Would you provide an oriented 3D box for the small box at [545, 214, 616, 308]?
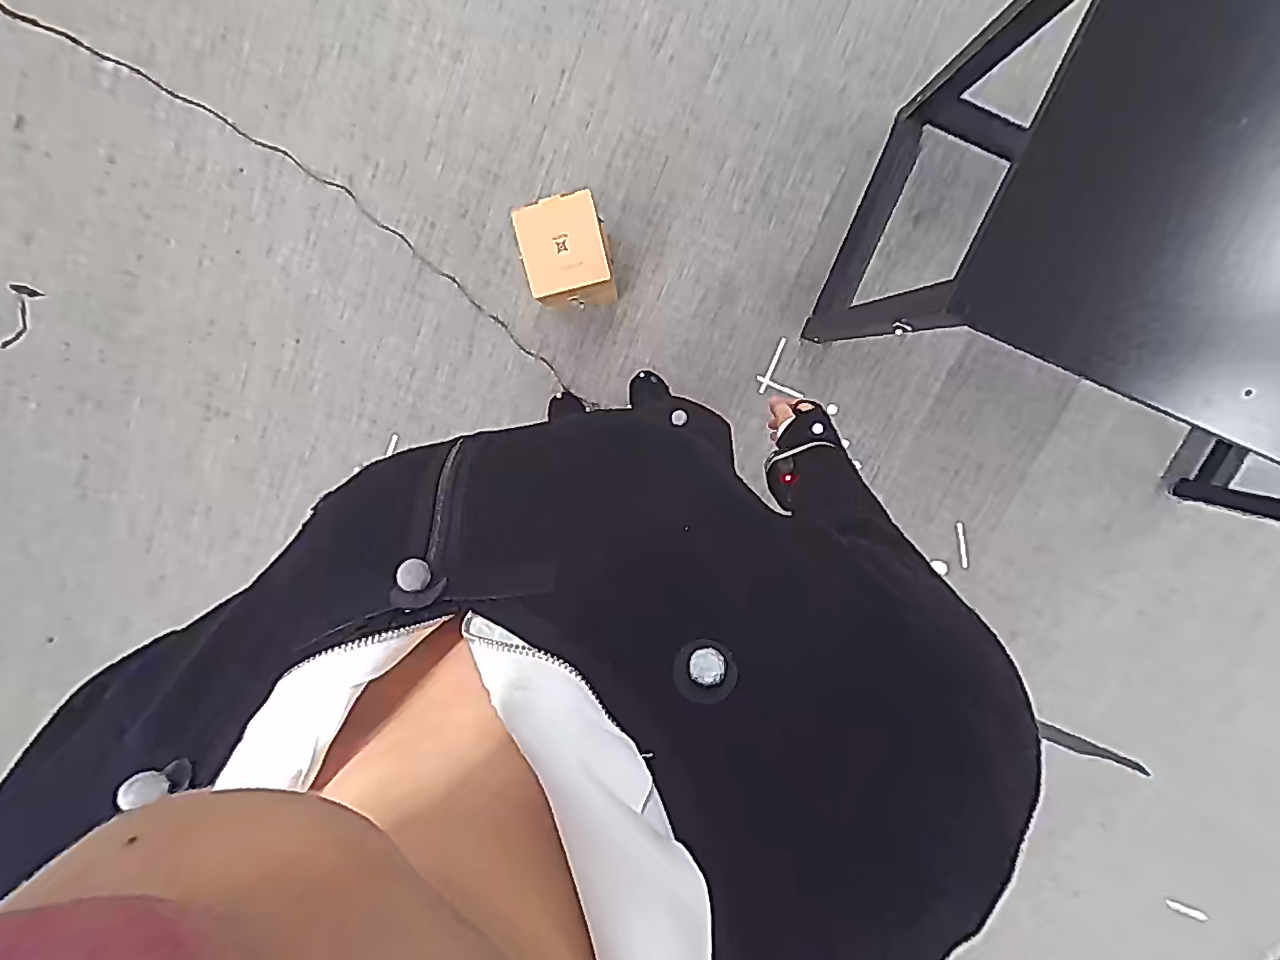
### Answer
[{"bbox_3d":[-0.154,-0.523,1.318,0.168,0.176,0.179,-9,101,1],"label":"small box"}]

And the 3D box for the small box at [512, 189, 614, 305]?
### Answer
[{"bbox_3d":[-0.157,-0.488,1.159,0.168,0.176,0.179,-13,102,4],"label":"small box"}]
